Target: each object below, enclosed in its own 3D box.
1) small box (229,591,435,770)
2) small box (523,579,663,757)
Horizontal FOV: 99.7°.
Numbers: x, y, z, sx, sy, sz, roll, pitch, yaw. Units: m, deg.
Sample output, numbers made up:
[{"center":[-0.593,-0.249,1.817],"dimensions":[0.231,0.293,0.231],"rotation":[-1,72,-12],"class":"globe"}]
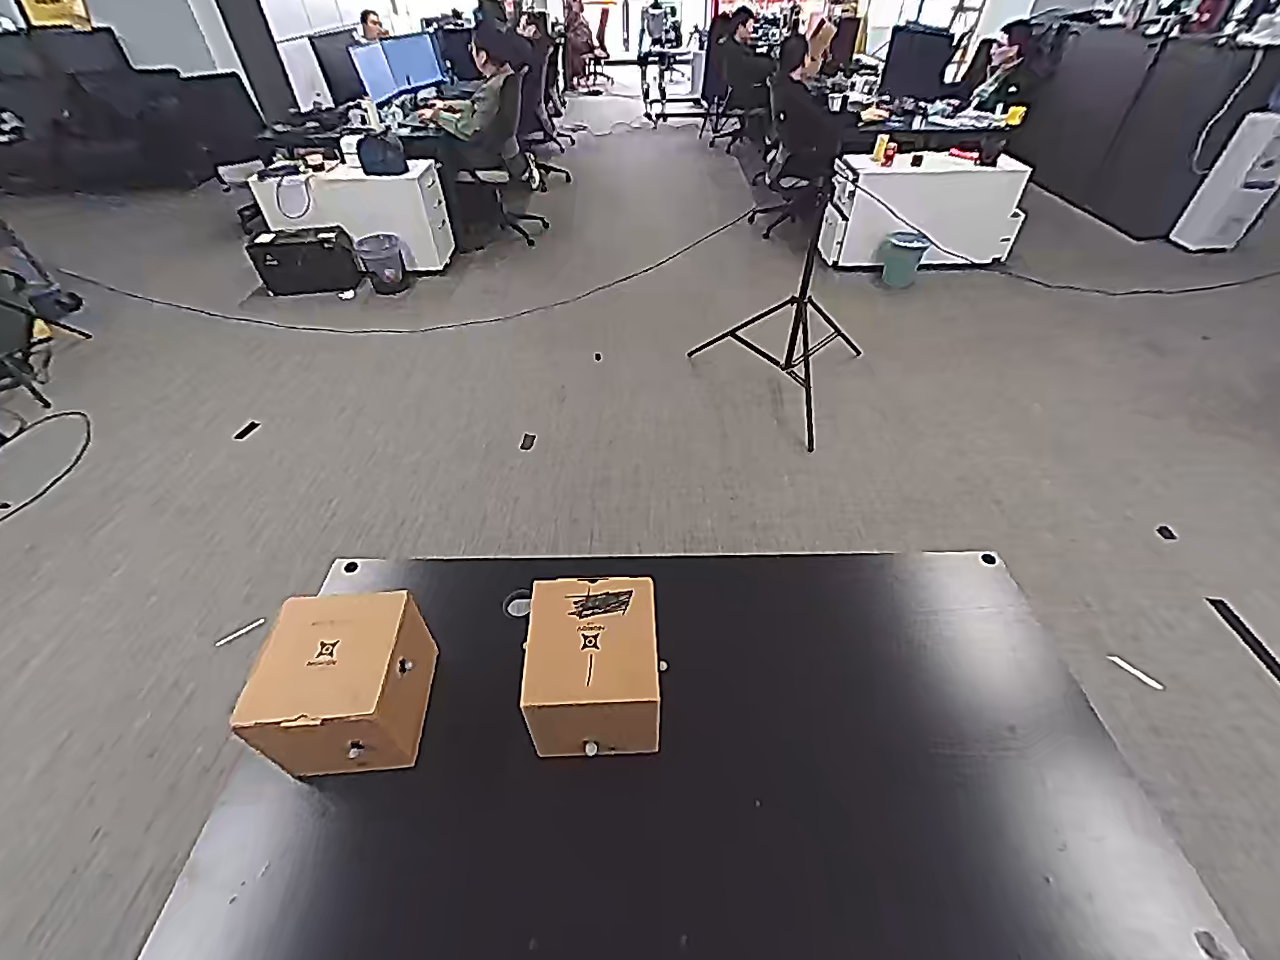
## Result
[{"center":[-0.389,0.272,0.726],"dimensions":[0.168,0.176,0.179],"rotation":[-3,43,-4],"class":"small box"},{"center":[-0.057,0.255,0.739],"dimensions":[0.168,0.176,0.179],"rotation":[-2,45,-1],"class":"small box"}]
